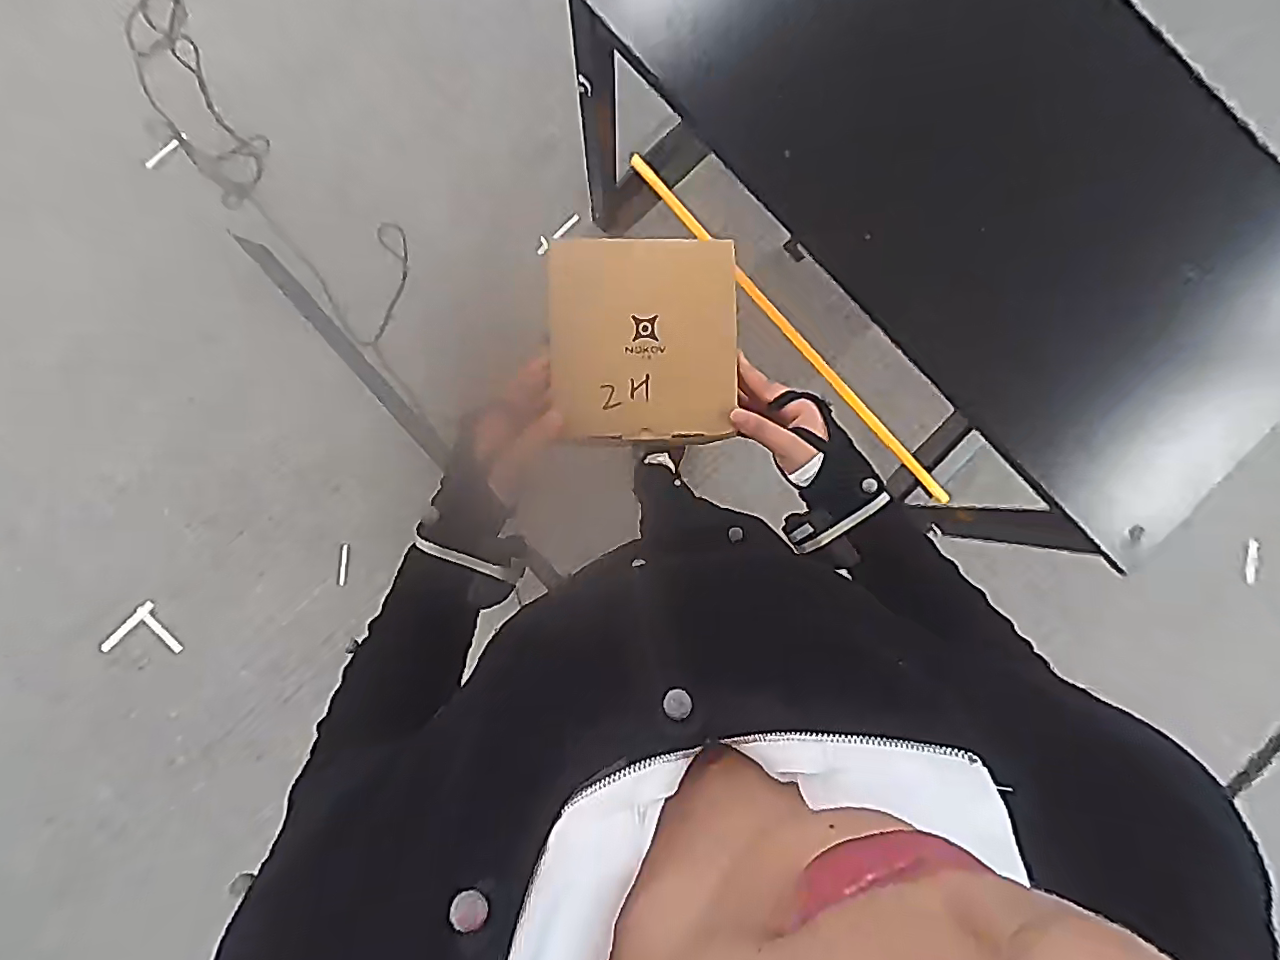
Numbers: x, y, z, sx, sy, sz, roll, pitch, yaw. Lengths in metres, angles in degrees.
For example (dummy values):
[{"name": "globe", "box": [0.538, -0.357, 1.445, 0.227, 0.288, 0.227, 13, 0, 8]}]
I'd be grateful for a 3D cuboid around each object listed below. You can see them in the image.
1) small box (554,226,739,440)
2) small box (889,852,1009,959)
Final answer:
[{"name": "small box", "box": [0.000, -0.135, 0.554, 0.168, 0.176, 0.179, -1, 91, -4]}, {"name": "small box", "box": [0.792, 1.120, 1.407, 0.179, 0.176, 0.168, 41, 87, 0]}]
